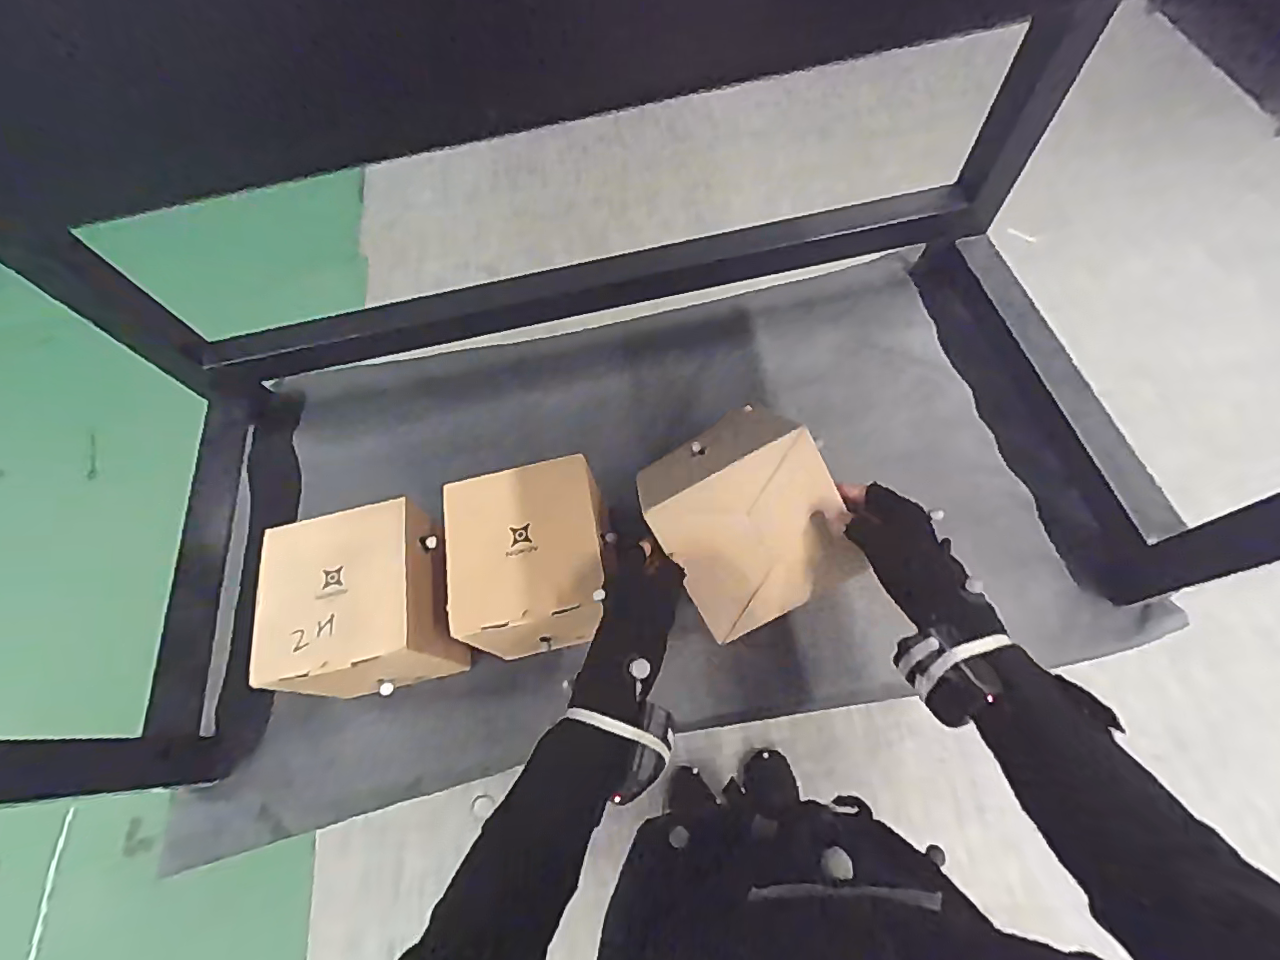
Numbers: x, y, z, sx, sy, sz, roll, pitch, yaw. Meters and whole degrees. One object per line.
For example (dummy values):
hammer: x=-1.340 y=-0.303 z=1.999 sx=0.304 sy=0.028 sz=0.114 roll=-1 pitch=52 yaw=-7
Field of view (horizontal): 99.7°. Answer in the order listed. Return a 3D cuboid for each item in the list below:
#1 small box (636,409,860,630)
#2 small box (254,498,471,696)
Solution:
small box: x=0.112 y=0.039 z=0.607 sx=0.179 sy=0.176 sz=0.168 roll=-29 pitch=101 yaw=3
small box: x=-0.316 y=0.148 z=0.652 sx=0.168 sy=0.176 sz=0.179 roll=-13 pitch=63 yaw=0
